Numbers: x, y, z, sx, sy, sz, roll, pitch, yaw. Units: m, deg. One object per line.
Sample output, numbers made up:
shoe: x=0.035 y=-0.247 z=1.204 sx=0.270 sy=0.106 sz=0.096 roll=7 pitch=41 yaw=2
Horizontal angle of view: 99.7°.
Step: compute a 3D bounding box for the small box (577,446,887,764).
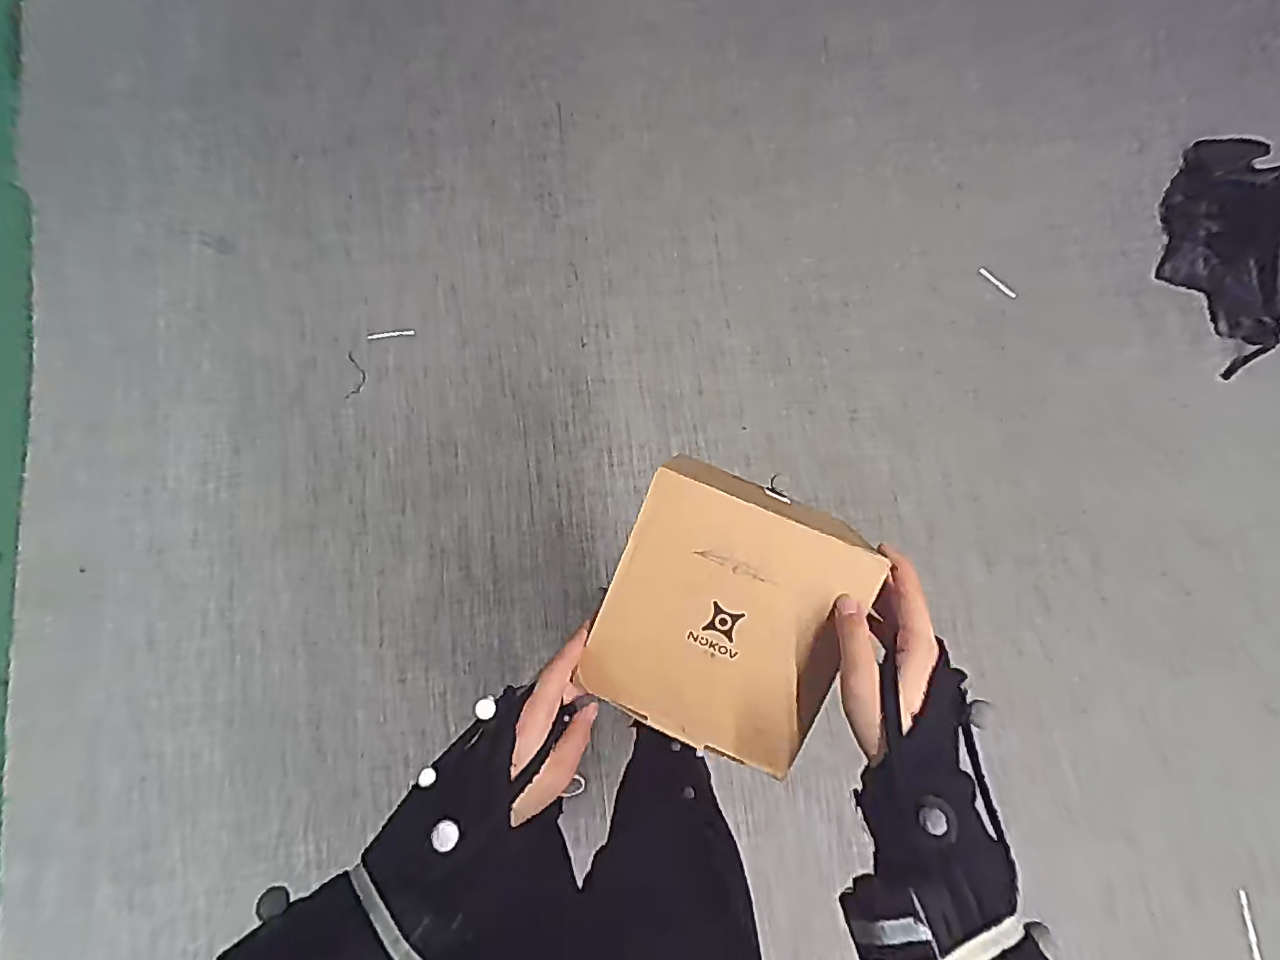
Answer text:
small box: x=0.070 y=0.082 z=0.451 sx=0.168 sy=0.176 sz=0.179 roll=22 pitch=99 yaw=5
